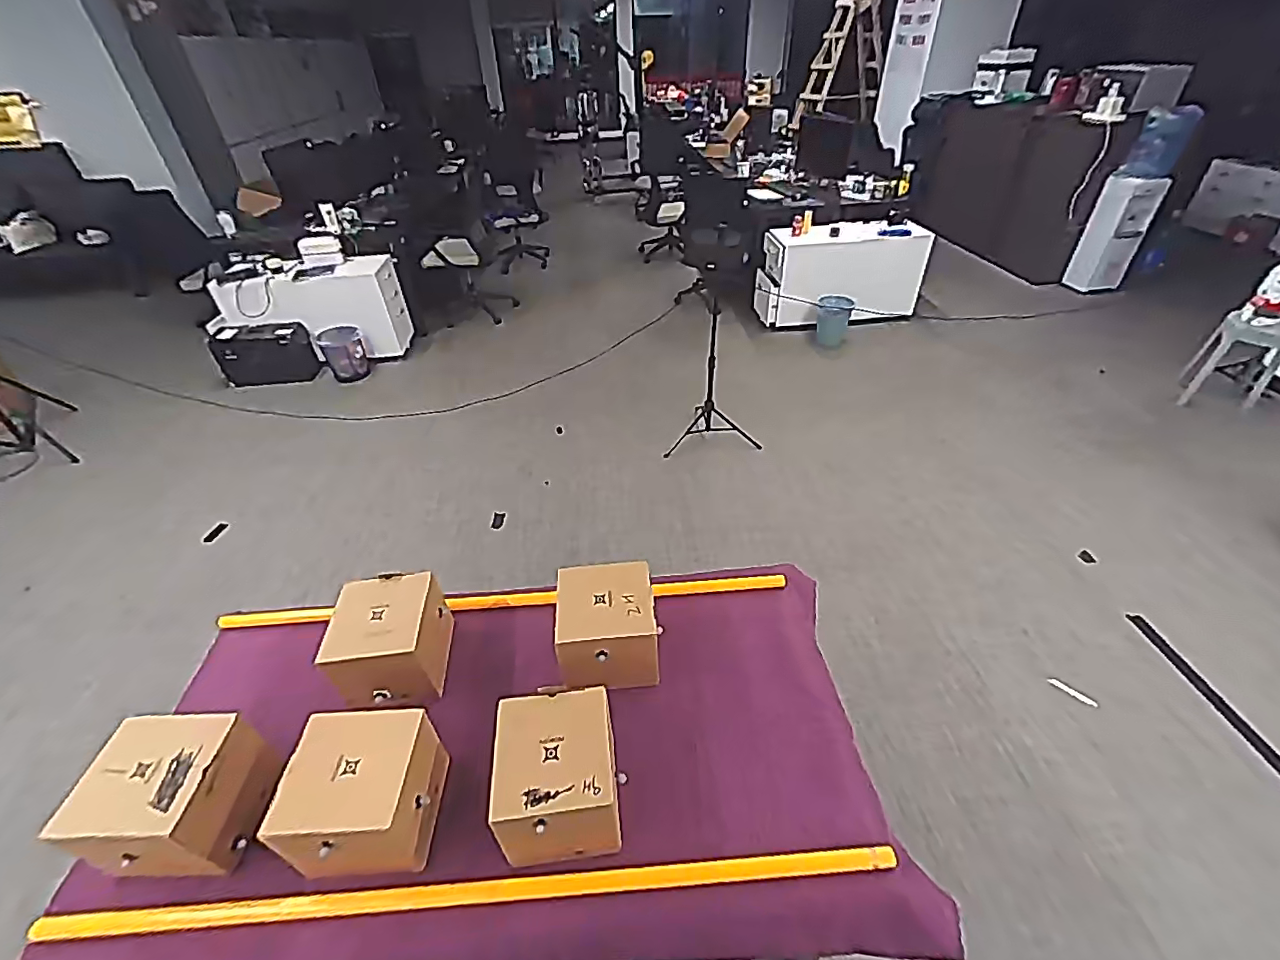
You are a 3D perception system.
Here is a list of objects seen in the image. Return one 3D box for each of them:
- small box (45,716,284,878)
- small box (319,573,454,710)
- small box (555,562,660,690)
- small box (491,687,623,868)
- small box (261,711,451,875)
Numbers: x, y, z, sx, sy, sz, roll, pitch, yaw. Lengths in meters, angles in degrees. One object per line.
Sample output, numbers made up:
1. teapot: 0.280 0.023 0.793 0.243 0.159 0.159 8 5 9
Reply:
1. small box: -0.685 0.474 0.811 0.179 0.176 0.168 -2 39 1
2. small box: -0.459 0.301 1.014 0.168 0.176 0.179 -7 40 -3
3. small box: -0.058 0.277 1.018 0.179 0.176 0.168 -4 41 -2
4. small box: -0.117 0.445 0.816 0.168 0.176 0.179 -6 37 -3
5. small box: -0.401 0.467 0.807 0.179 0.176 0.168 -4 39 1
